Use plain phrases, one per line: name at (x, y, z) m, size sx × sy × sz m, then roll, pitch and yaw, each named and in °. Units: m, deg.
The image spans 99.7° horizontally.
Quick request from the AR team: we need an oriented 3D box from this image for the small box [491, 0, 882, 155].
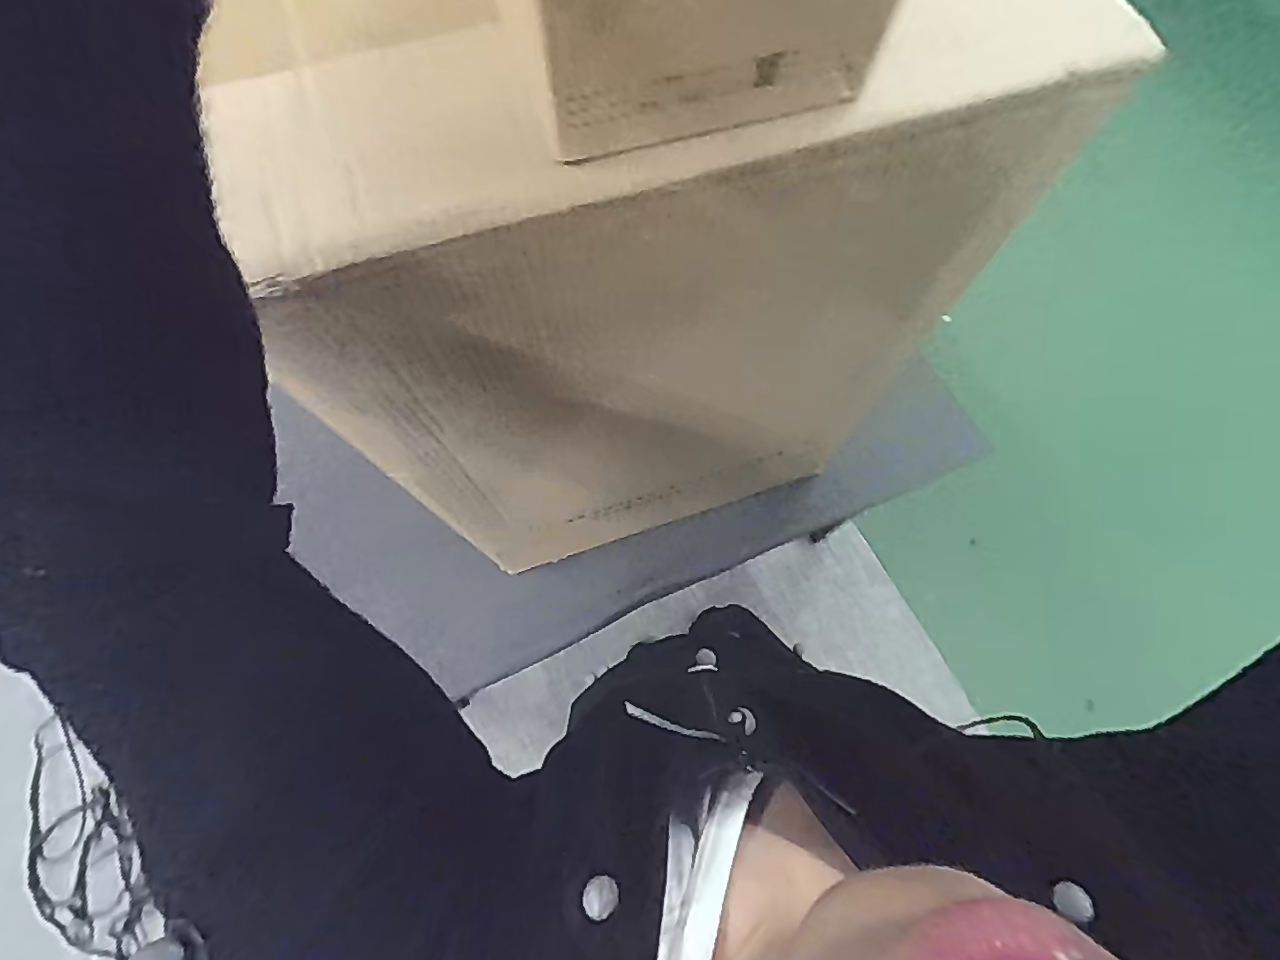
small box at (0.010, -0.272, 0.229) m, size 0.168 × 0.176 × 0.179 m, roll -17°, pitch 72°, yaw -6°
